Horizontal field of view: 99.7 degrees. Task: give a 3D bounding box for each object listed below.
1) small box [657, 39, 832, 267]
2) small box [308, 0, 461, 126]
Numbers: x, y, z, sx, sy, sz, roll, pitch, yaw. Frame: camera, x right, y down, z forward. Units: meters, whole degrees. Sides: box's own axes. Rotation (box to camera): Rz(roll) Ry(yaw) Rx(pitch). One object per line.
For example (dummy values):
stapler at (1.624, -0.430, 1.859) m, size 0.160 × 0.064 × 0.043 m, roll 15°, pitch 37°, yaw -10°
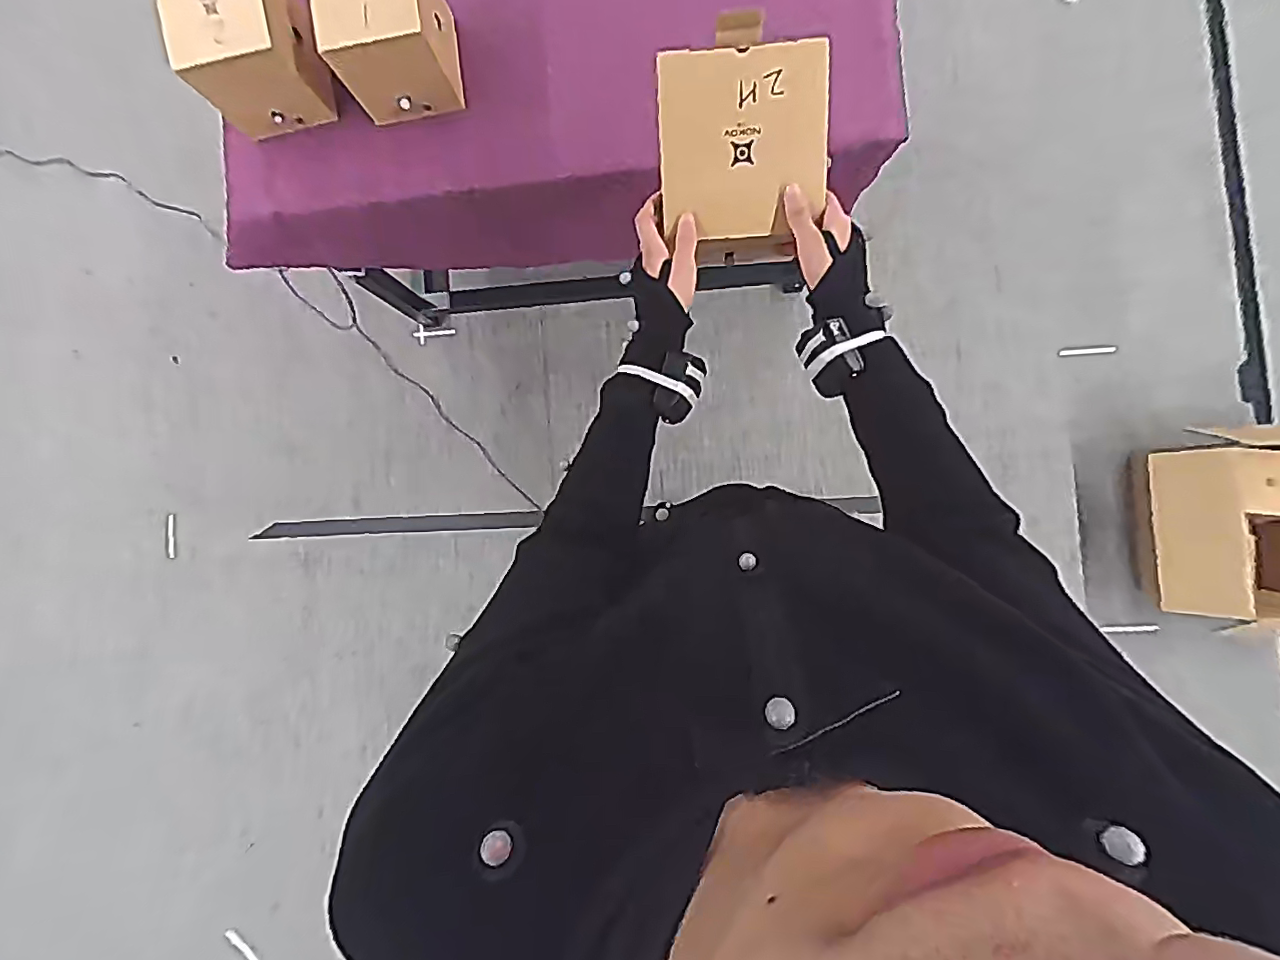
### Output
small box at (0.105, -0.343, 0.605) m, size 0.168 × 0.176 × 0.179 m, roll -2°, pitch 102°, yaw 3°
small box at (-0.409, -0.726, 0.880) m, size 0.168 × 0.176 × 0.179 m, roll -8°, pitch 89°, yaw 4°
